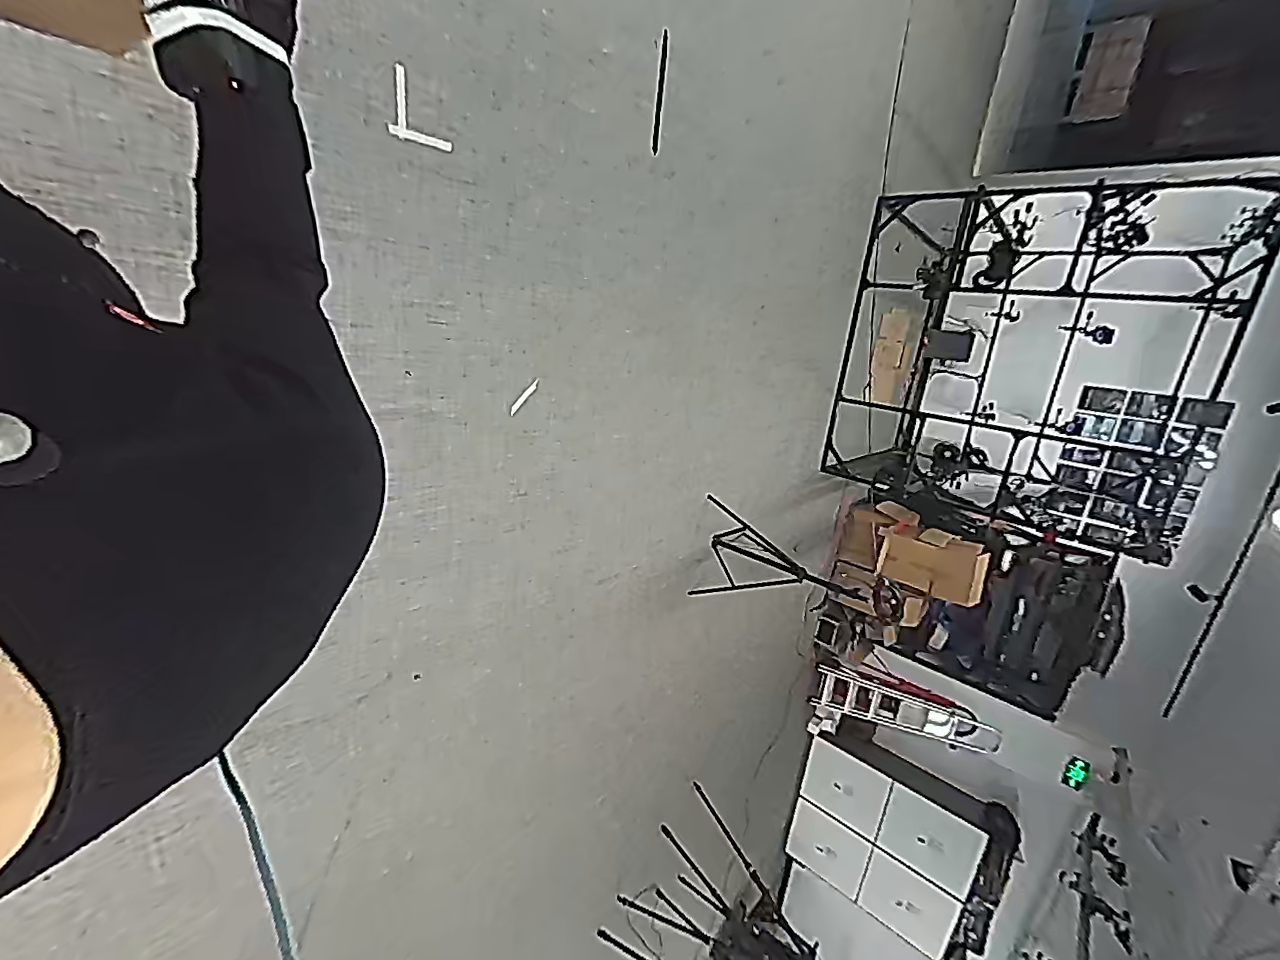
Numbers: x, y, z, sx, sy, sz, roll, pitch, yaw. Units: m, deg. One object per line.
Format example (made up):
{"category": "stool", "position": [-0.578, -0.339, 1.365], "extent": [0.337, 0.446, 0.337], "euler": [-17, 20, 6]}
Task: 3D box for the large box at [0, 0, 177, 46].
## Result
{"category": "large box", "position": [-0.533, -0.503, 0.275], "extent": [0.408, 0.320, 0.320], "euler": [-14, 121, -49]}
